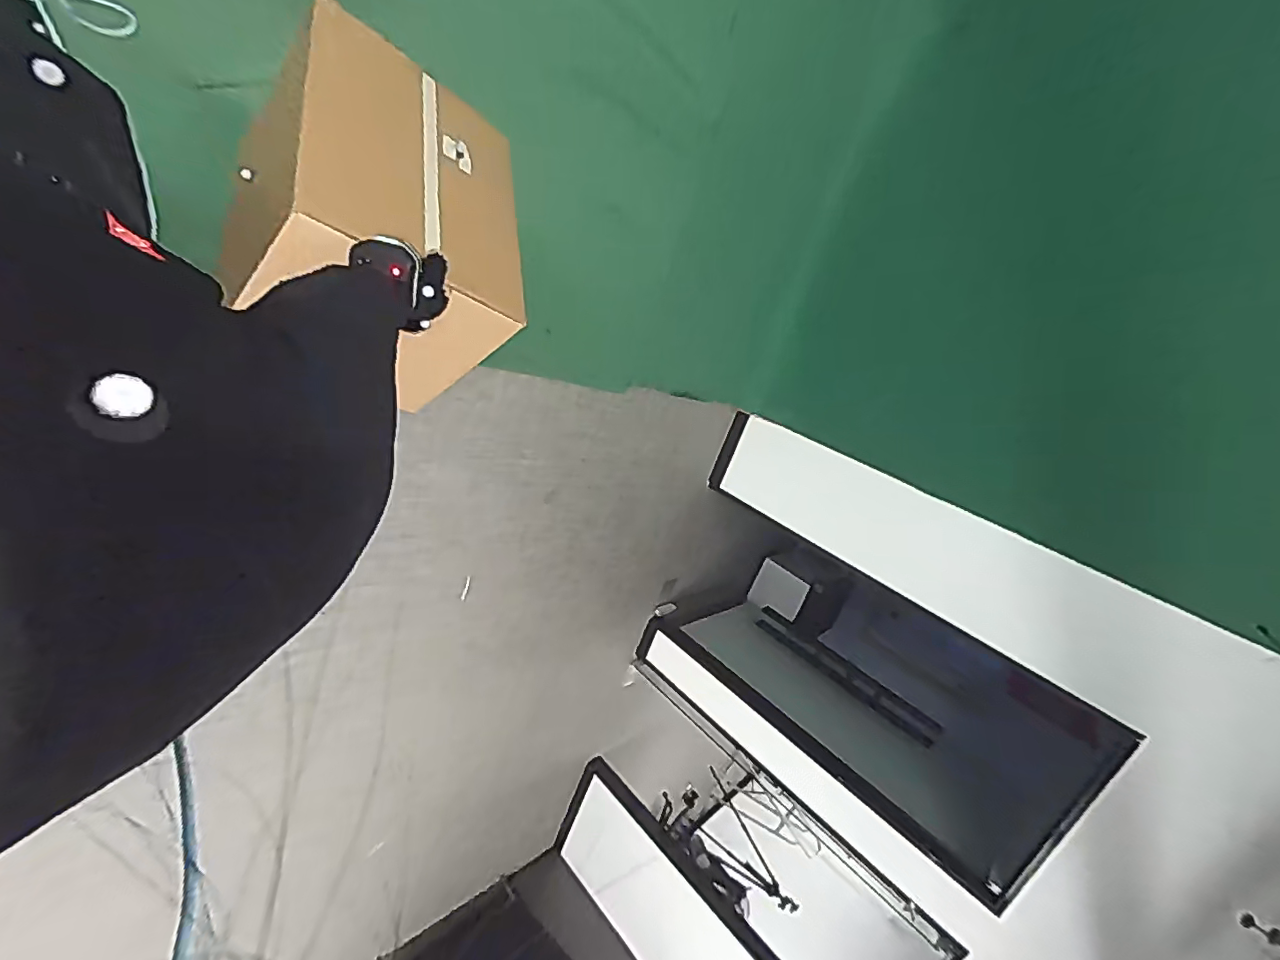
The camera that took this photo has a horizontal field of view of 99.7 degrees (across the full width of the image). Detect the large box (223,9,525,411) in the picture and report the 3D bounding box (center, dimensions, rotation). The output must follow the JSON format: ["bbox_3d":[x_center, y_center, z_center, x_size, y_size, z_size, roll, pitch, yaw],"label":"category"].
[{"bbox_3d":[-0.415,-0.377,0.855,0.320,0.408,0.320,-26,153,33],"label":"large box"}]
